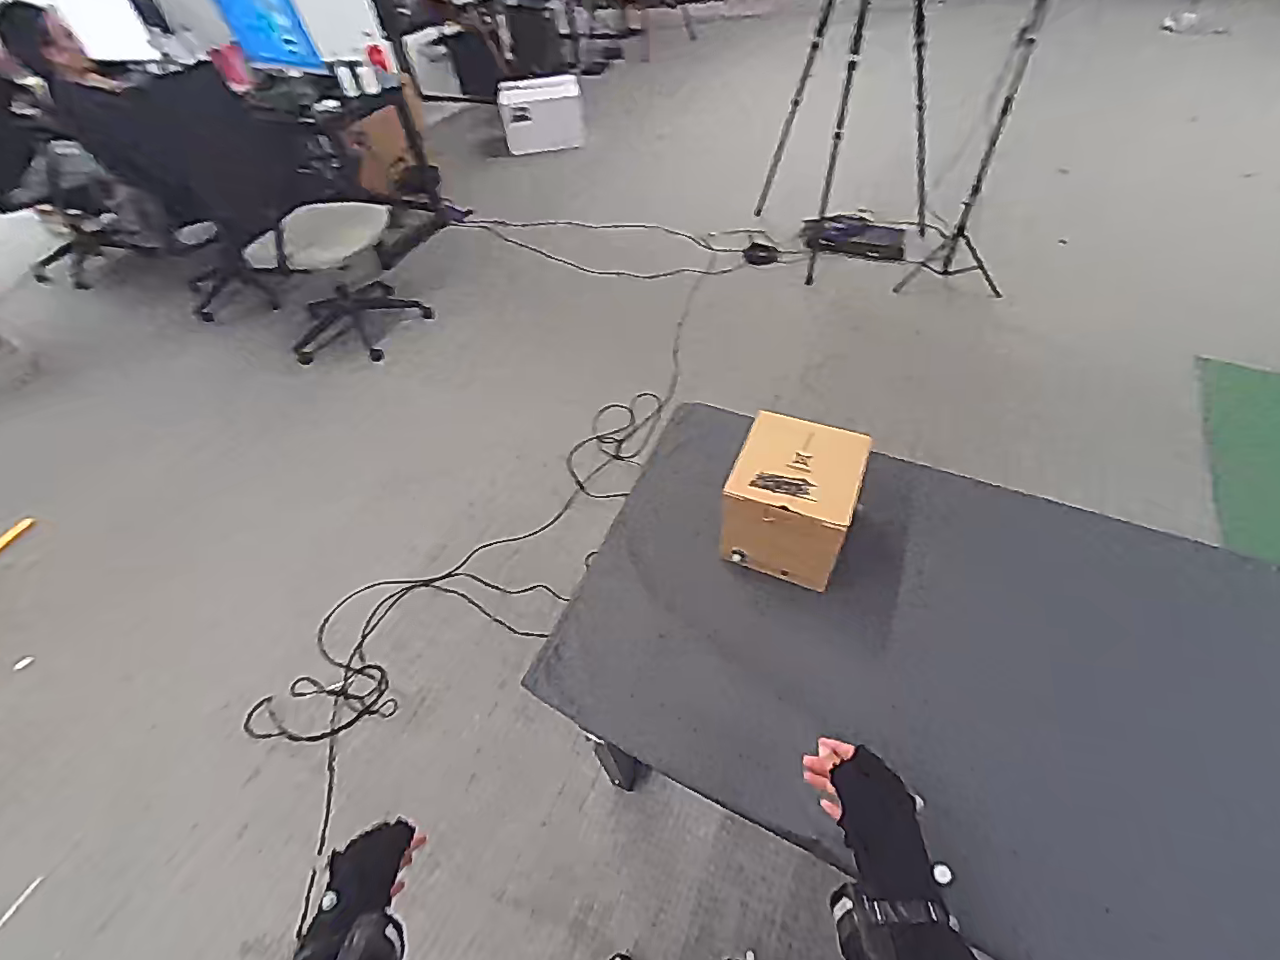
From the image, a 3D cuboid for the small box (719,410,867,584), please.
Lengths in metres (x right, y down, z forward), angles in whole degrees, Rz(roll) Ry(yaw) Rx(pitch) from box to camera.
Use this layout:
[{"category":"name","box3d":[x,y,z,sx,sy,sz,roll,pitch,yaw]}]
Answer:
[{"category":"small box","box3d":[0.223,0.028,0.811,0.168,0.176,0.179,17,53,18]}]
